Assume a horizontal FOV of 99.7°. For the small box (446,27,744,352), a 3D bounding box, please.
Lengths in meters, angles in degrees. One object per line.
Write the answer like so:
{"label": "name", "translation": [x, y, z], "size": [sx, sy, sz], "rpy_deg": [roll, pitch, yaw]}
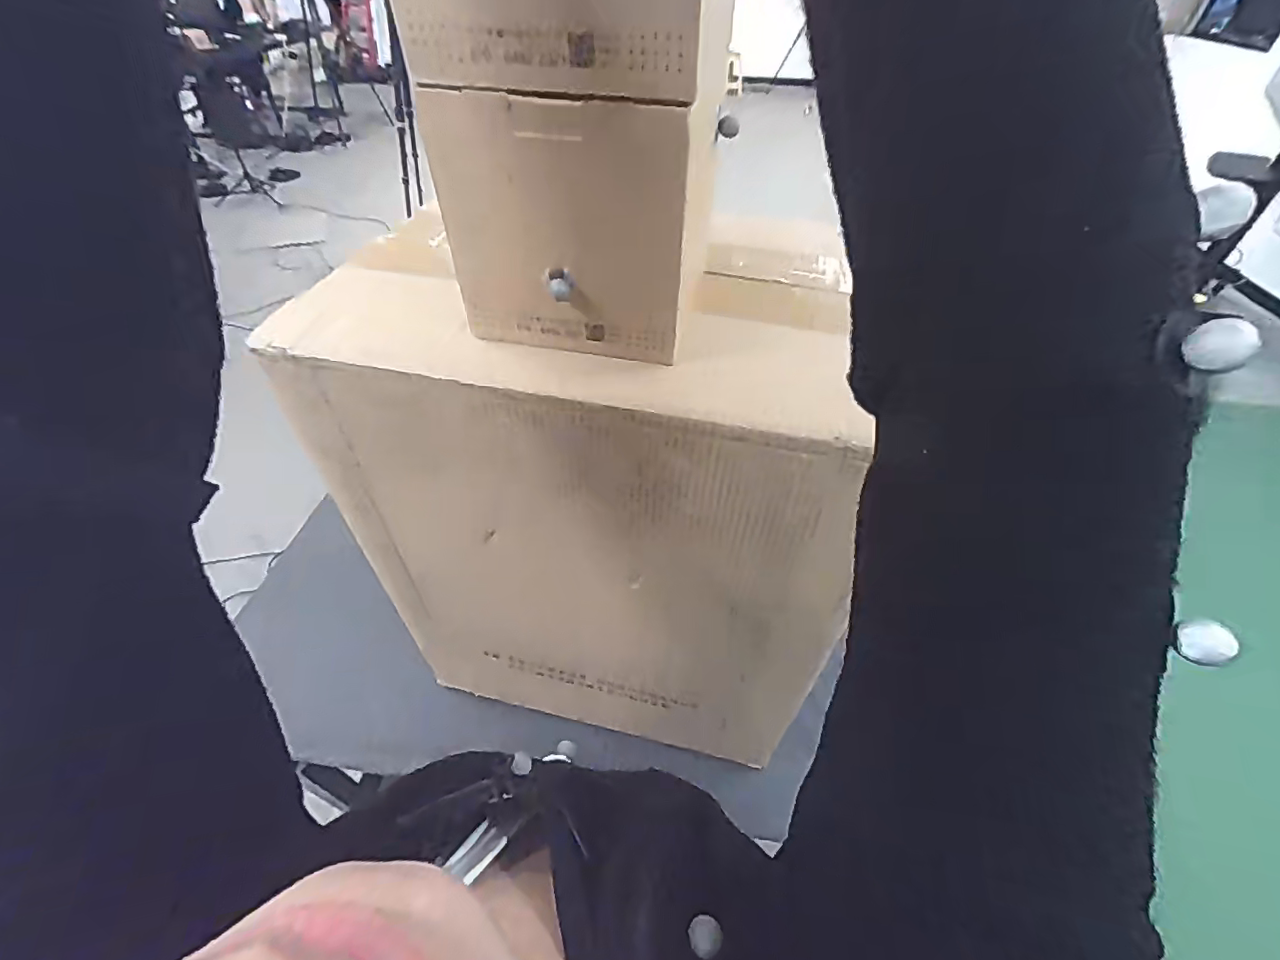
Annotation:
{"label": "small box", "translation": [-0.022, -0.226, 0.422], "size": [0.168, 0.176, 0.179], "rpy_deg": [10, 48, 8]}
